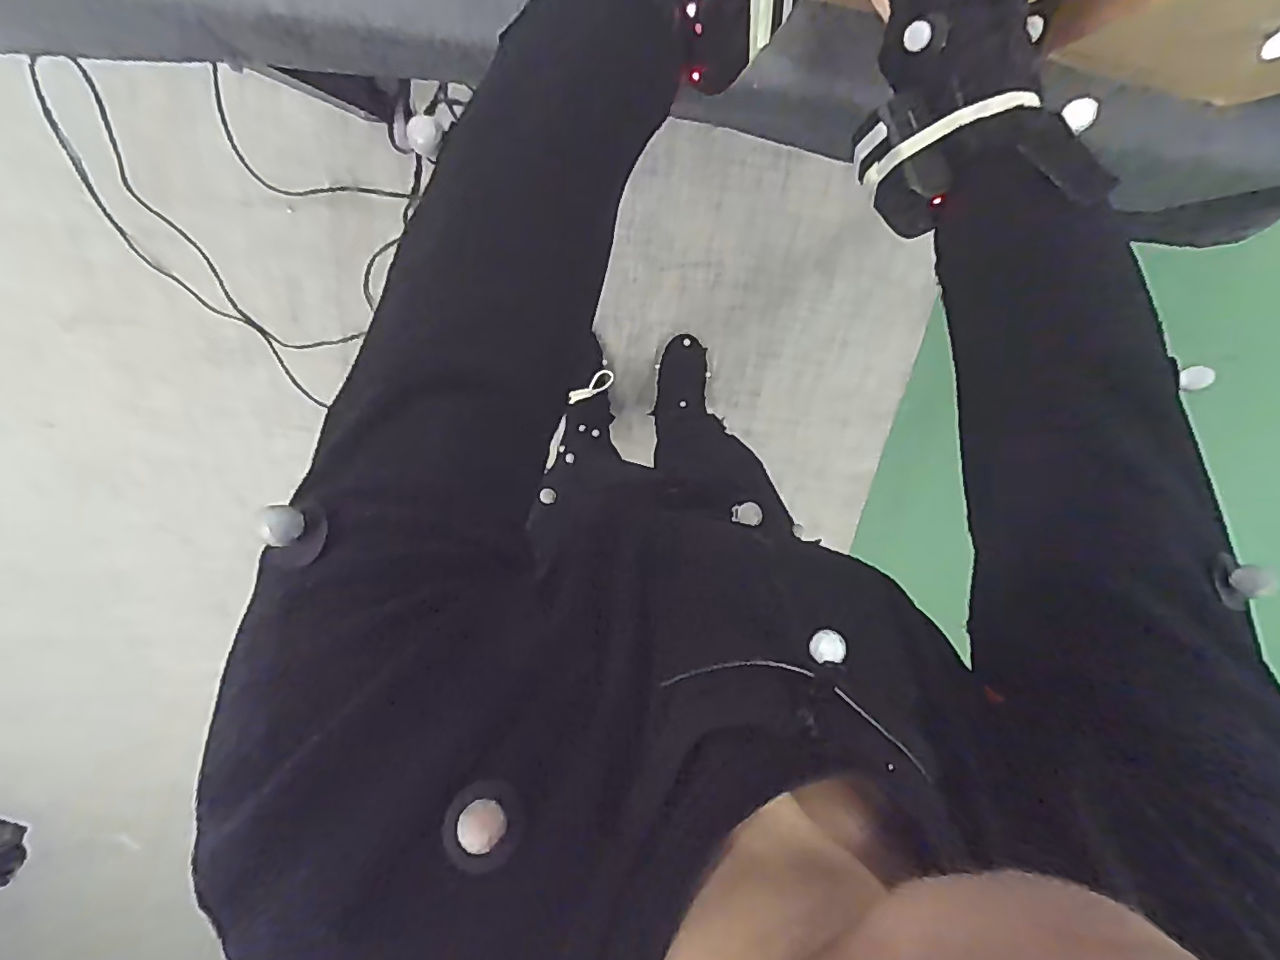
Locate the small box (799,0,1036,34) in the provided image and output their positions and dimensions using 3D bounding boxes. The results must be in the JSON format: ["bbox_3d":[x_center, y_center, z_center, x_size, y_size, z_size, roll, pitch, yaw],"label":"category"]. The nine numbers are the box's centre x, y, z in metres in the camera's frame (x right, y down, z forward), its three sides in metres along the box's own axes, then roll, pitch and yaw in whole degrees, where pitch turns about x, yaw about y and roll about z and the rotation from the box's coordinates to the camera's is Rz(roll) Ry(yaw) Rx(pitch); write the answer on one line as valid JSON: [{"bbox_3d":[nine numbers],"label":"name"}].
[{"bbox_3d":[0.207,-0.414,0.334,0.179,0.176,0.168,10,113,-3],"label":"small box"}]
